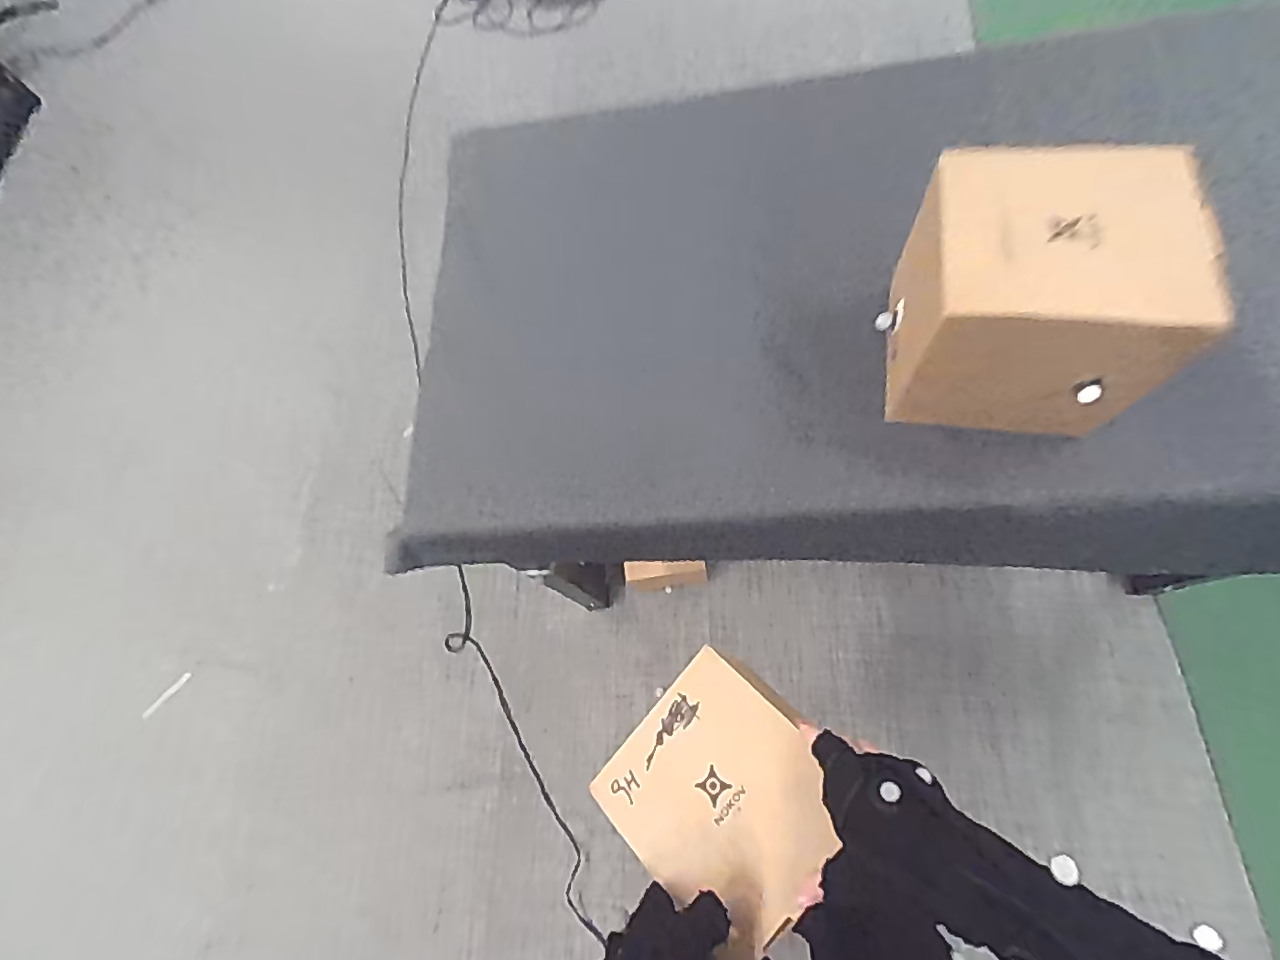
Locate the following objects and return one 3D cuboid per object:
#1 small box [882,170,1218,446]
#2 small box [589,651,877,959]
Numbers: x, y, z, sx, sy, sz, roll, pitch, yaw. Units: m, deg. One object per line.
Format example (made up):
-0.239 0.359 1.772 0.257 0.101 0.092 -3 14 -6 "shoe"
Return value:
0.331 -0.141 0.480 0.179 0.176 0.168 6 69 12 "small box"
0.092 0.284 0.501 0.179 0.176 0.168 39 85 30 "small box"
